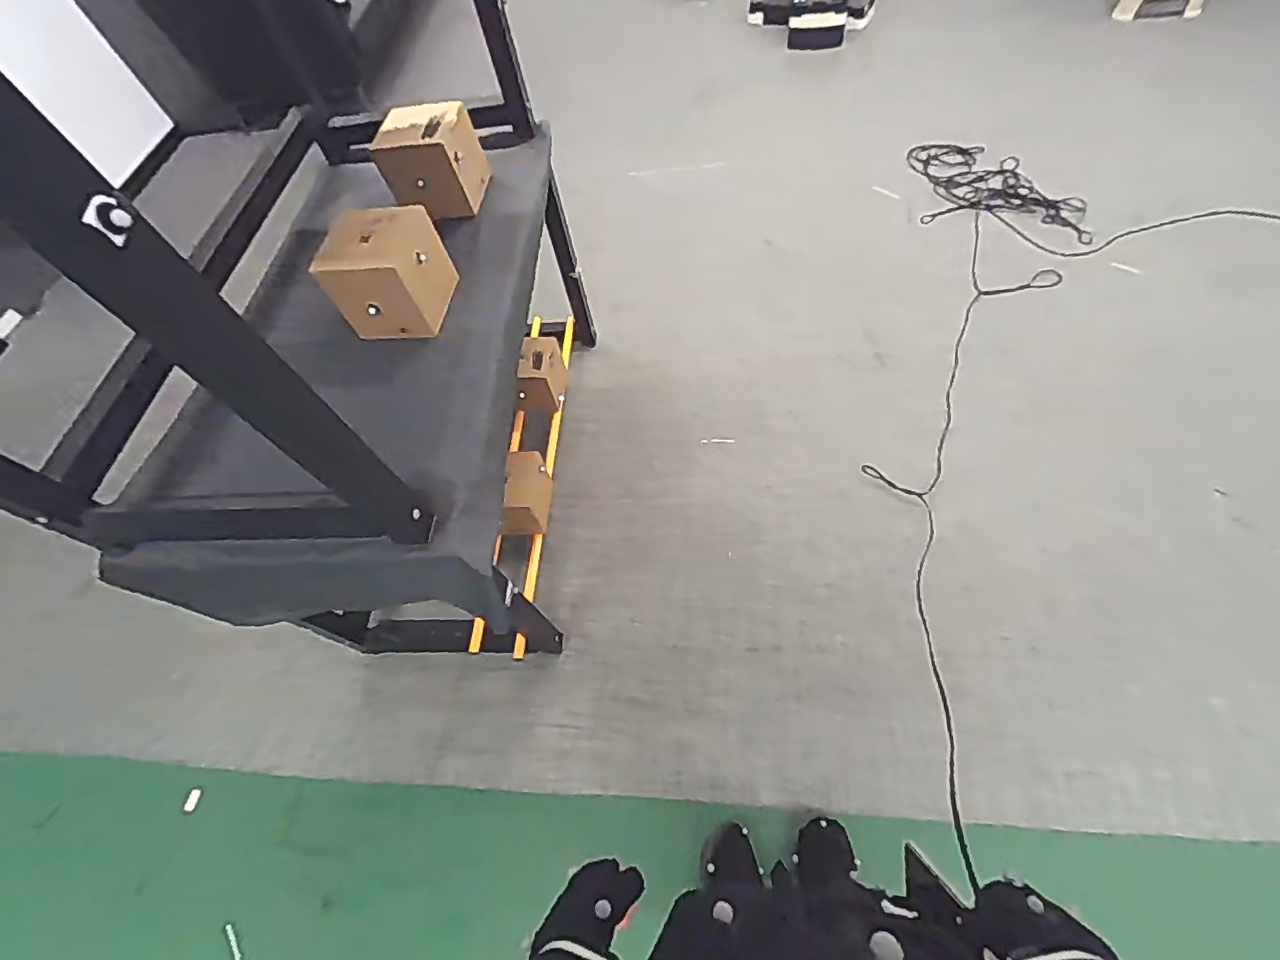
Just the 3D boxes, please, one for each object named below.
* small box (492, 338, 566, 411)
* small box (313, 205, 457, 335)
[{"bbox_3d":[-0.342,-0.331,1.714,0.179,0.176,0.168,2,60,9],"label":"small box"},{"bbox_3d":[-0.476,-0.398,1.043,0.168,0.176,0.179,1,60,9],"label":"small box"}]
